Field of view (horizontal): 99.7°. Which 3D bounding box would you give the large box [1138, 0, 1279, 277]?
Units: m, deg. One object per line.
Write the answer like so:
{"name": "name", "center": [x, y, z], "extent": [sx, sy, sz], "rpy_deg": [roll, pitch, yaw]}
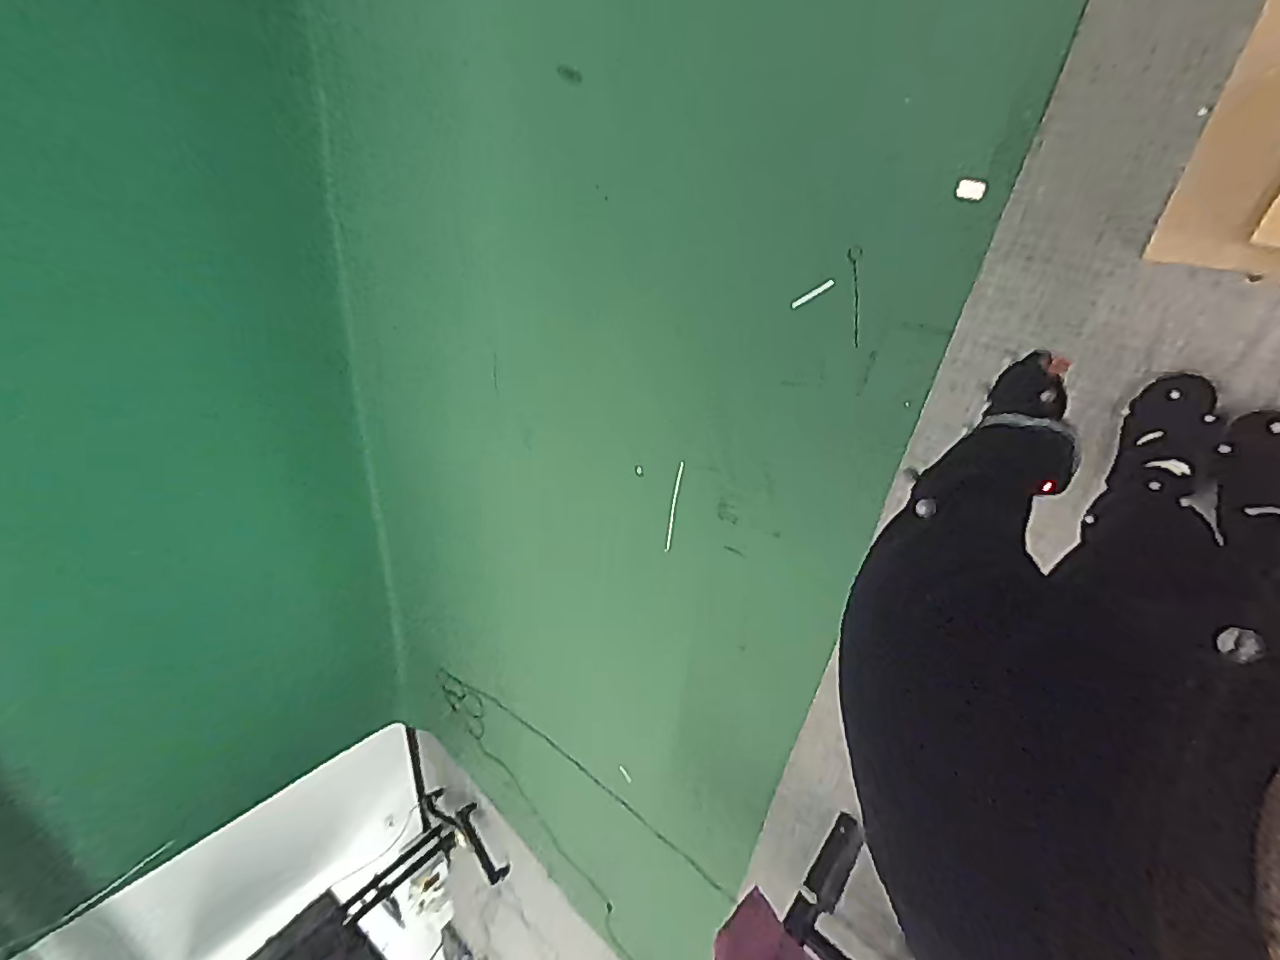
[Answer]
{"name": "large box", "center": [0.927, -0.473, 0.689], "extent": [0.320, 0.320, 0.408], "rpy_deg": [26, 123, 33]}
